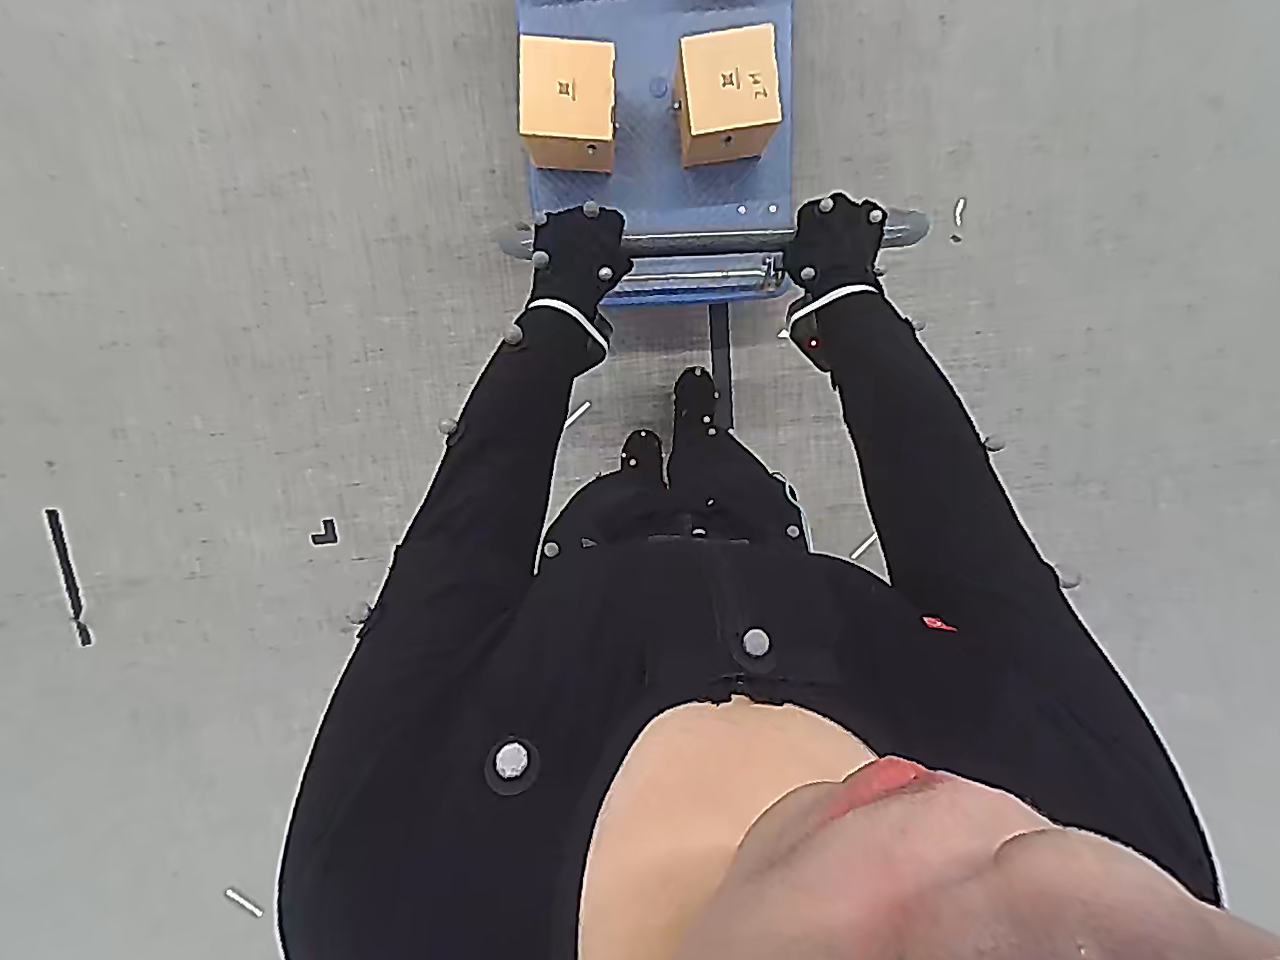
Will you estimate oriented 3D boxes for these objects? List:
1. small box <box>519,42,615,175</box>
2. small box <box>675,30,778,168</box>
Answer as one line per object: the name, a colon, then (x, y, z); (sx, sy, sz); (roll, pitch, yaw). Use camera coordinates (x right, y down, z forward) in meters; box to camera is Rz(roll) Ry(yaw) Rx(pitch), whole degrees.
small box: (-0.140, -0.733, 1.085); (0.179, 0.176, 0.168); (2, 101, -3)
small box: (0.166, -0.754, 1.089); (0.179, 0.176, 0.168); (-9, 102, 0)
